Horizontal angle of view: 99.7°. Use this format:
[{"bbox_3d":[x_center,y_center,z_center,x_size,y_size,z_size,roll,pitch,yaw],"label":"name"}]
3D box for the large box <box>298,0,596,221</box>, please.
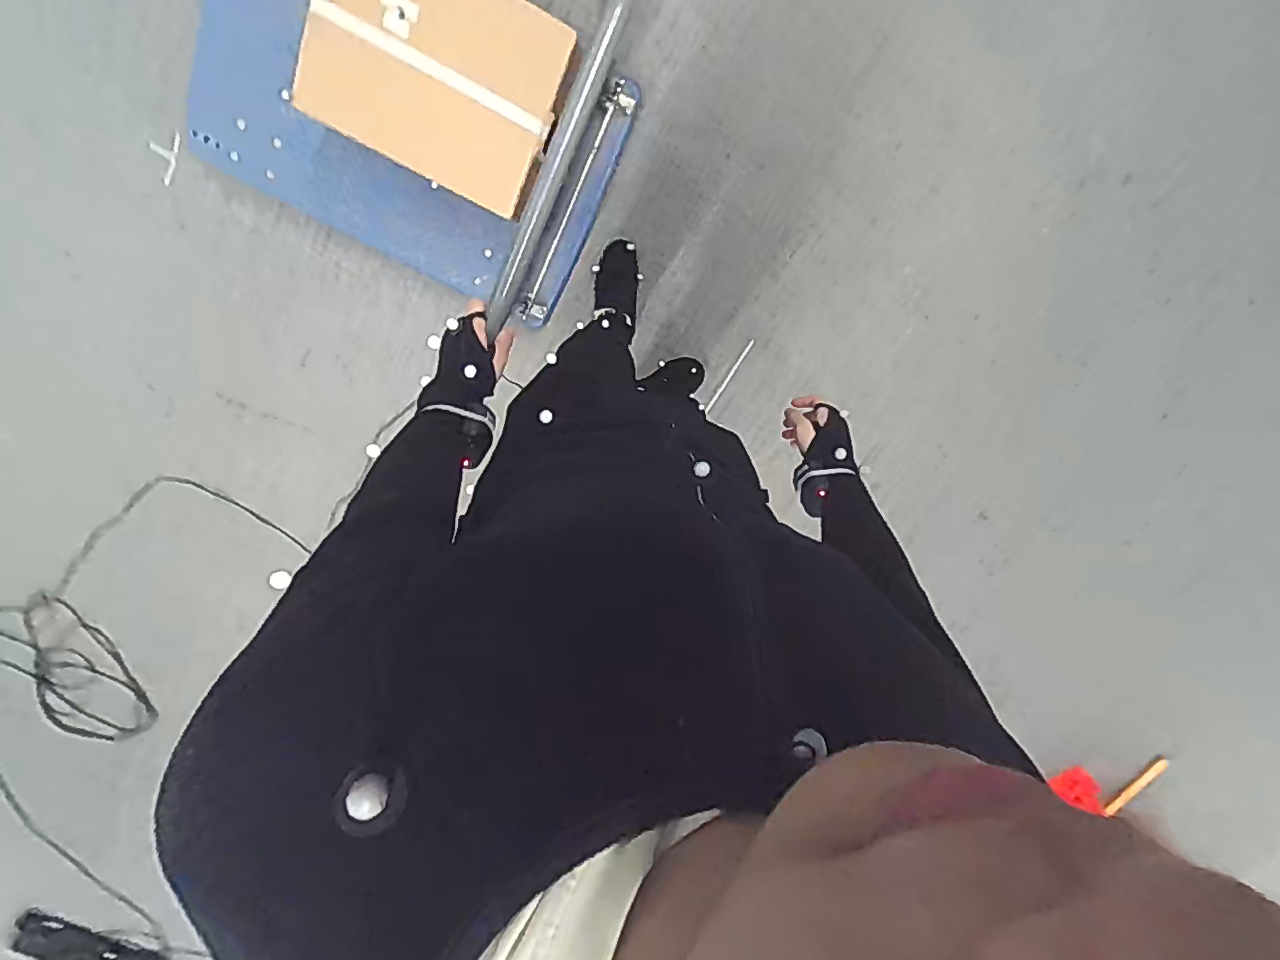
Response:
[{"bbox_3d":[-0.335,-0.744,1.033,0.408,0.320,0.320,25,109,-9],"label":"large box"}]
